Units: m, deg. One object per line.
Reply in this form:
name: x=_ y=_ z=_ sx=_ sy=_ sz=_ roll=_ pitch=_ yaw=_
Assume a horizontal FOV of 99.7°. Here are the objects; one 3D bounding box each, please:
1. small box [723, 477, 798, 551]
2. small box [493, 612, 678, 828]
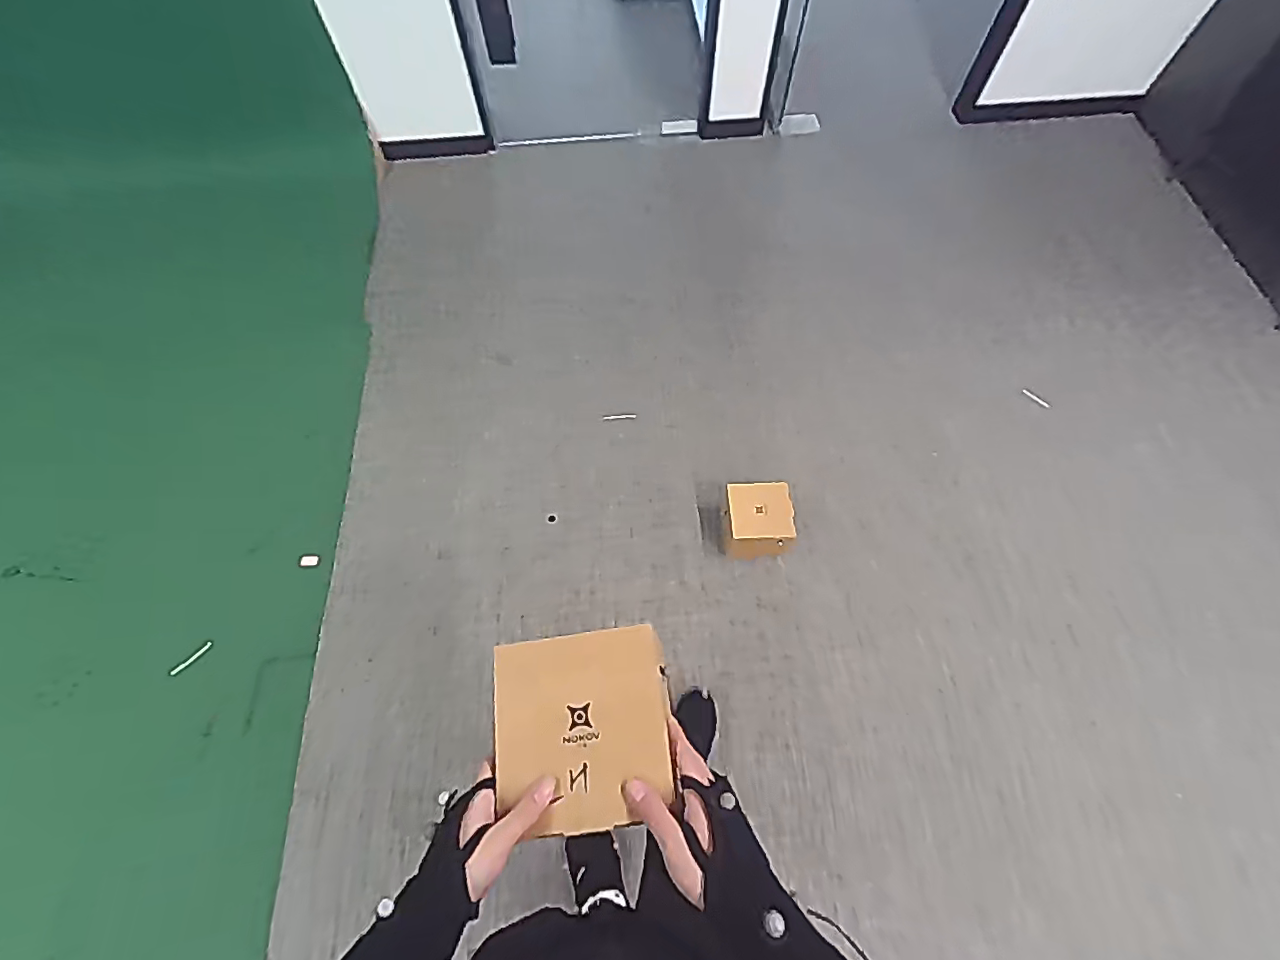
small box: x=0.336 y=0.103 z=1.551 sx=0.179 sy=0.176 sz=0.168 roll=-2 pitch=65 yaw=-1
small box: x=-0.051 y=0.255 z=0.584 sx=0.168 sy=0.176 sz=0.179 roll=-8 pitch=65 yaw=2
